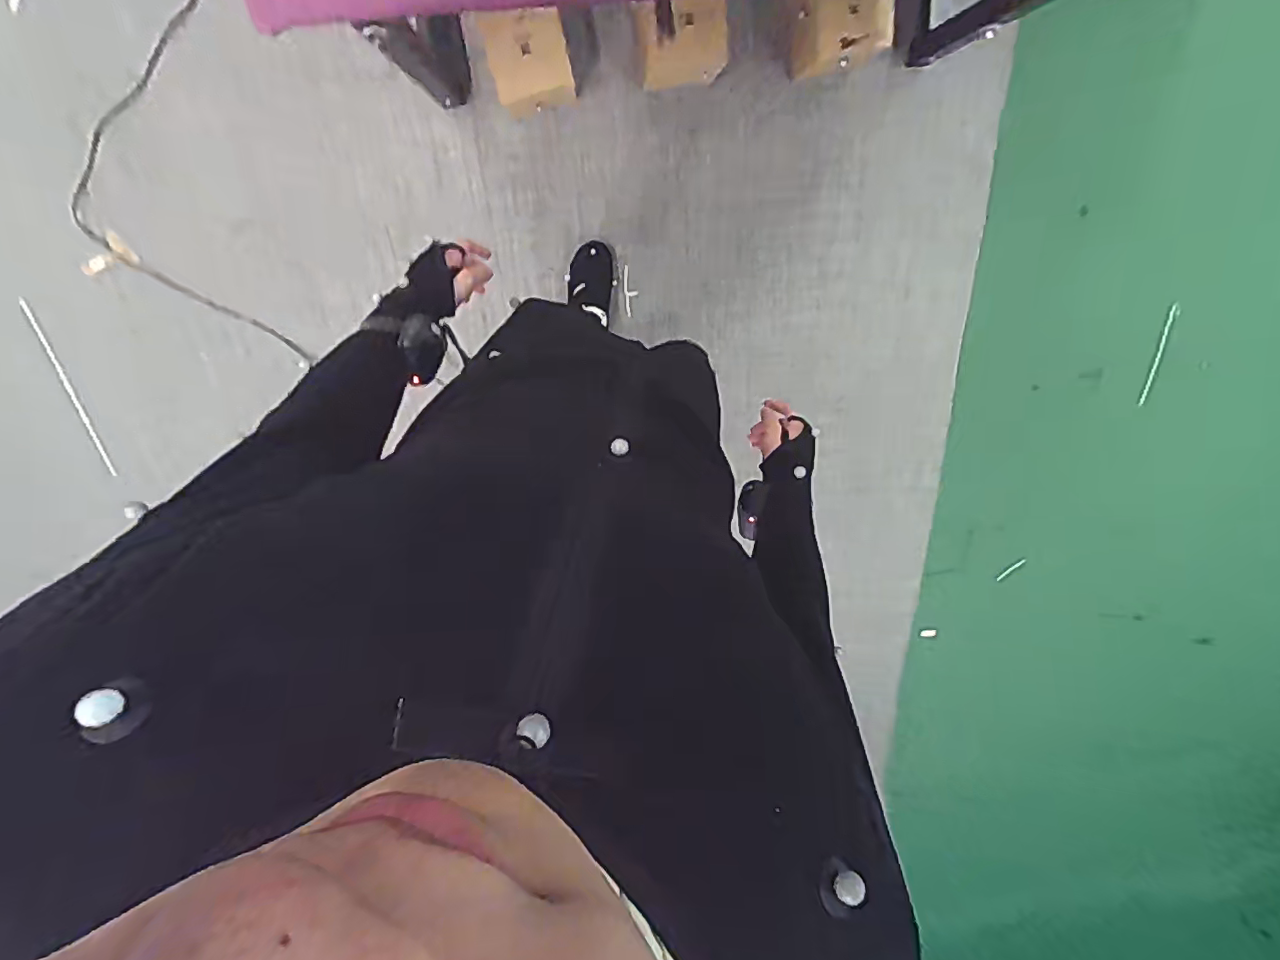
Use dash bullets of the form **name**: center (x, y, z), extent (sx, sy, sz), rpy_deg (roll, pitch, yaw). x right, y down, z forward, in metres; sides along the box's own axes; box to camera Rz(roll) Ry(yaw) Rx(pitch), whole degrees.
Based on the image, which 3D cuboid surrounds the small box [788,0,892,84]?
- **small box**: center (0.439, -1.019, 1.201), extent (0.168, 0.176, 0.179), rpy_deg (-12, 114, -1)

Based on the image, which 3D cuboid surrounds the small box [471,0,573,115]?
- **small box**: center (-0.245, -0.919, 1.175), extent (0.168, 0.176, 0.179), rpy_deg (-14, 114, 0)
